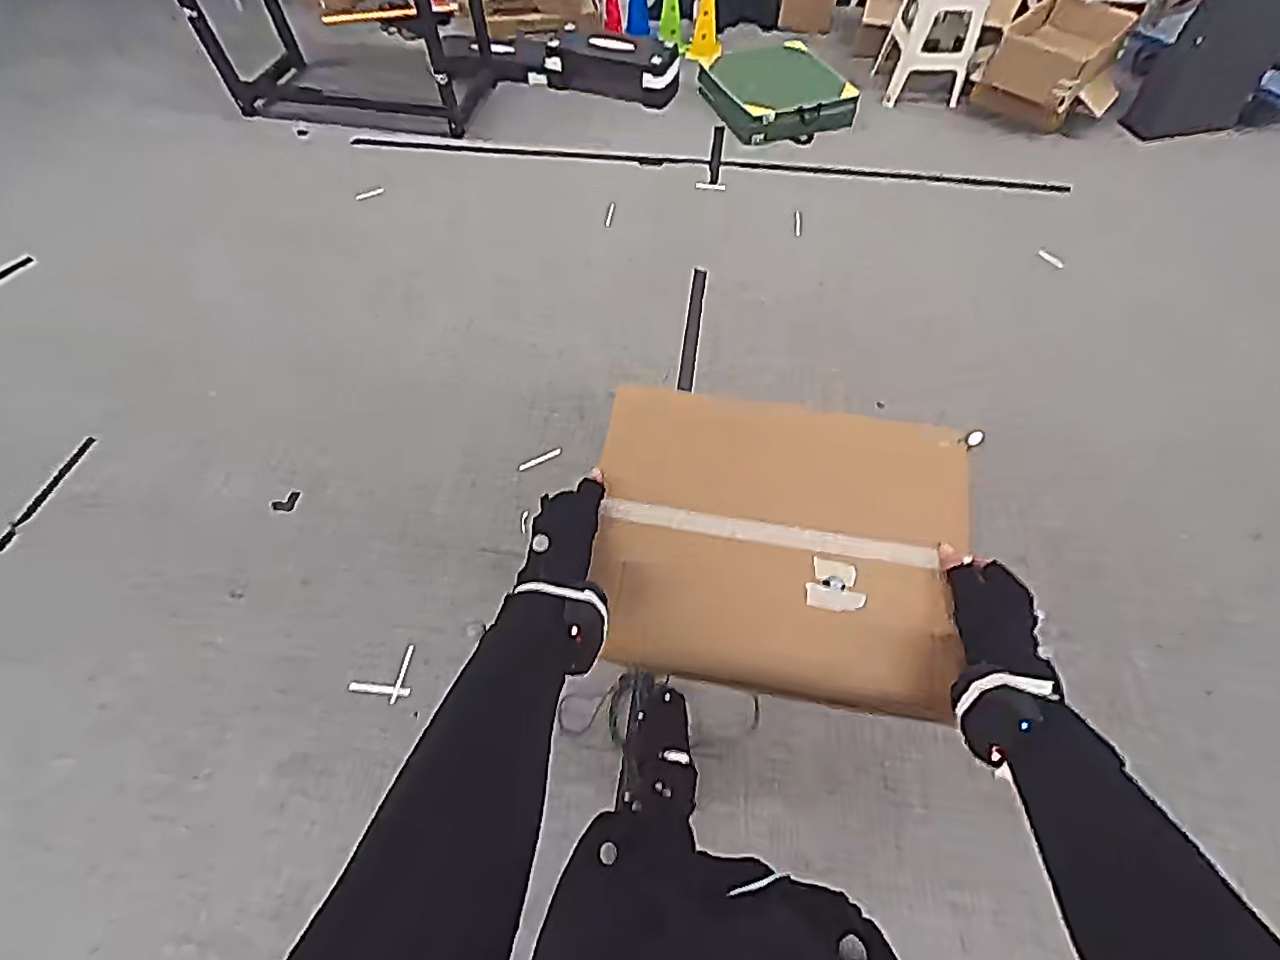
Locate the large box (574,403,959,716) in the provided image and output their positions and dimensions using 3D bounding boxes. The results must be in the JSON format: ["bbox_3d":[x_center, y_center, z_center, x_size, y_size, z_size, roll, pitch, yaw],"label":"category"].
[{"bbox_3d":[0.151,0.123,0.746,0.408,0.320,0.320,9,70,6],"label":"large box"}]
